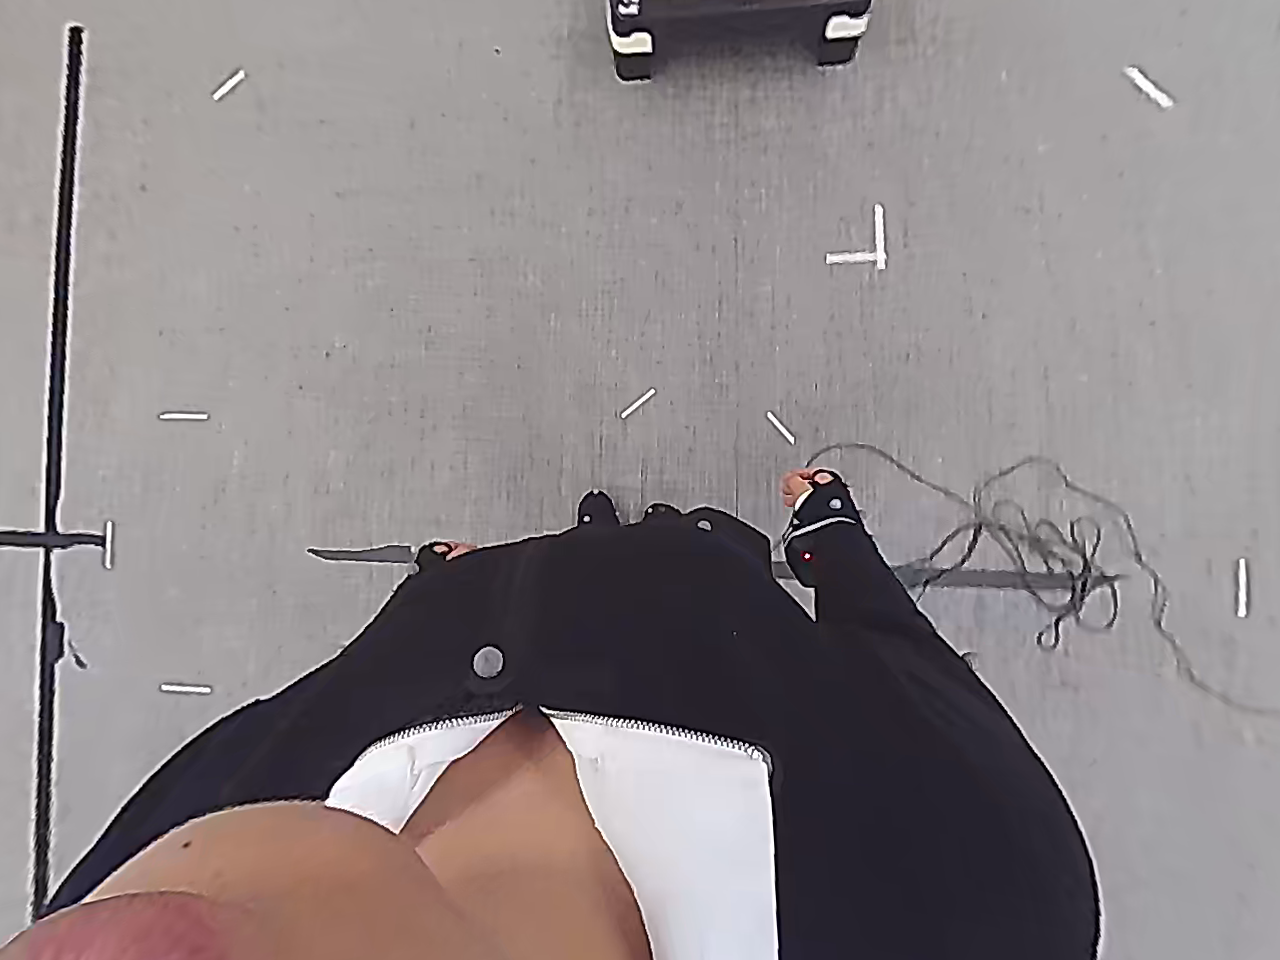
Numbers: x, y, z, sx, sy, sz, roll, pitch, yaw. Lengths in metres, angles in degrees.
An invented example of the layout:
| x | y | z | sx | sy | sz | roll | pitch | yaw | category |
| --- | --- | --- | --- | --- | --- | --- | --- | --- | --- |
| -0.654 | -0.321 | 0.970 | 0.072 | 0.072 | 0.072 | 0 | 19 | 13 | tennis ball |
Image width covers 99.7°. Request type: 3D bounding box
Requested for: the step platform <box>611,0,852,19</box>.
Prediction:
| x | y | z | sx | sy | sz | roll | pitch | yaw | category |
| --- | --- | --- | --- | --- | --- | --- | --- | --- | --- |
| 0.243 | -1.273 | 1.223 | 0.684 | 0.204 | 0.286 | -1 | 88 | 4 | step platform |
